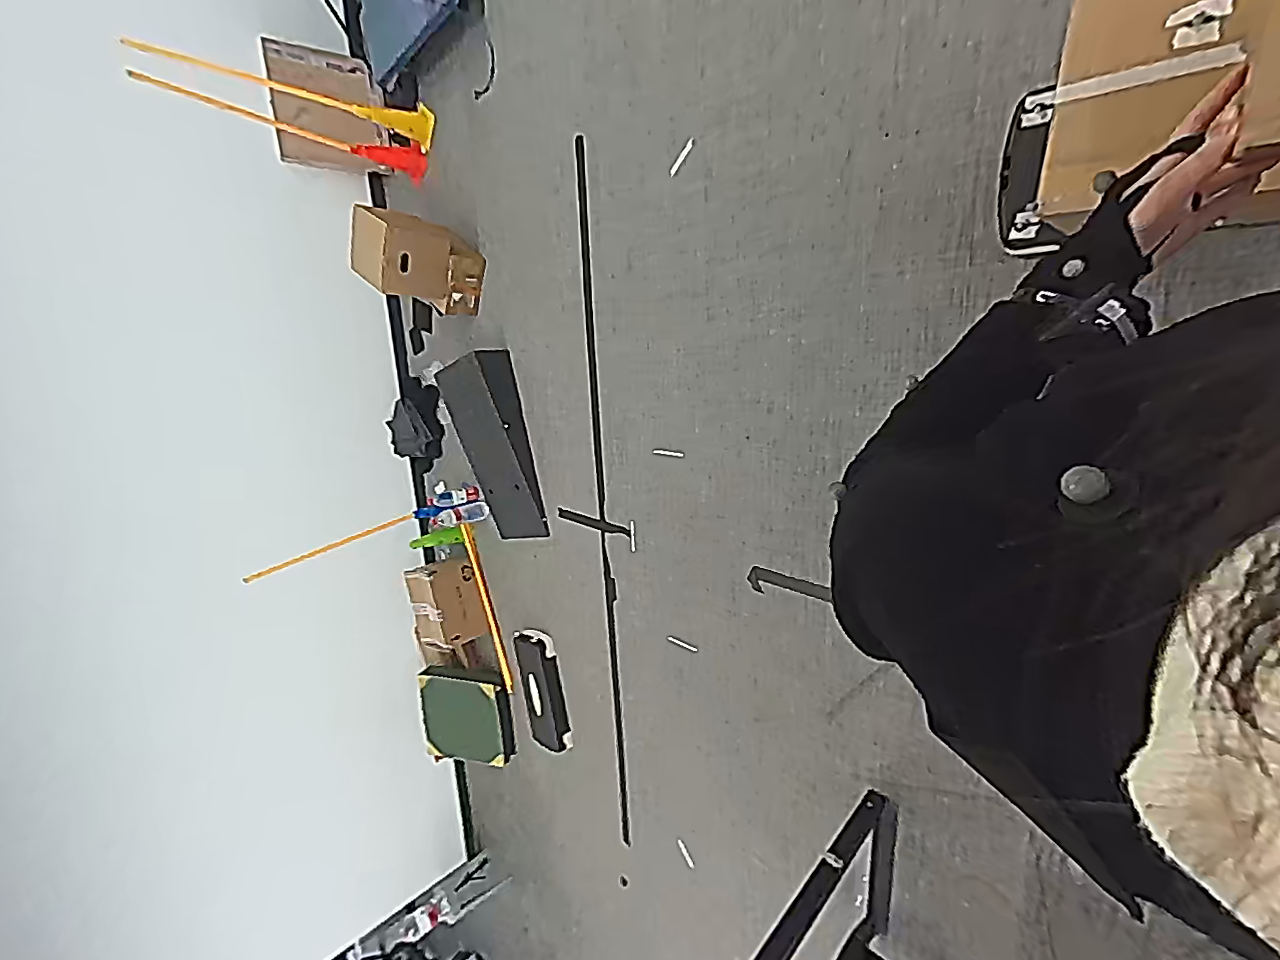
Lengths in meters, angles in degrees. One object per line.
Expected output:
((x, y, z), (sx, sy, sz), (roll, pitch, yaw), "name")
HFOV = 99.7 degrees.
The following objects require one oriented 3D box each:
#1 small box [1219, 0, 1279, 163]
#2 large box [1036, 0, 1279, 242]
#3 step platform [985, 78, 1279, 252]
((0.427, -0.267, 0.261), (0.179, 0.176, 0.168), (11, 116, 41), "small box")
((0.835, -0.520, 0.729), (0.408, 0.320, 0.320), (16, 111, 44), "large box")
((0.989, -0.557, 0.908), (0.684, 0.204, 0.286), (19, 114, 43), "step platform")
